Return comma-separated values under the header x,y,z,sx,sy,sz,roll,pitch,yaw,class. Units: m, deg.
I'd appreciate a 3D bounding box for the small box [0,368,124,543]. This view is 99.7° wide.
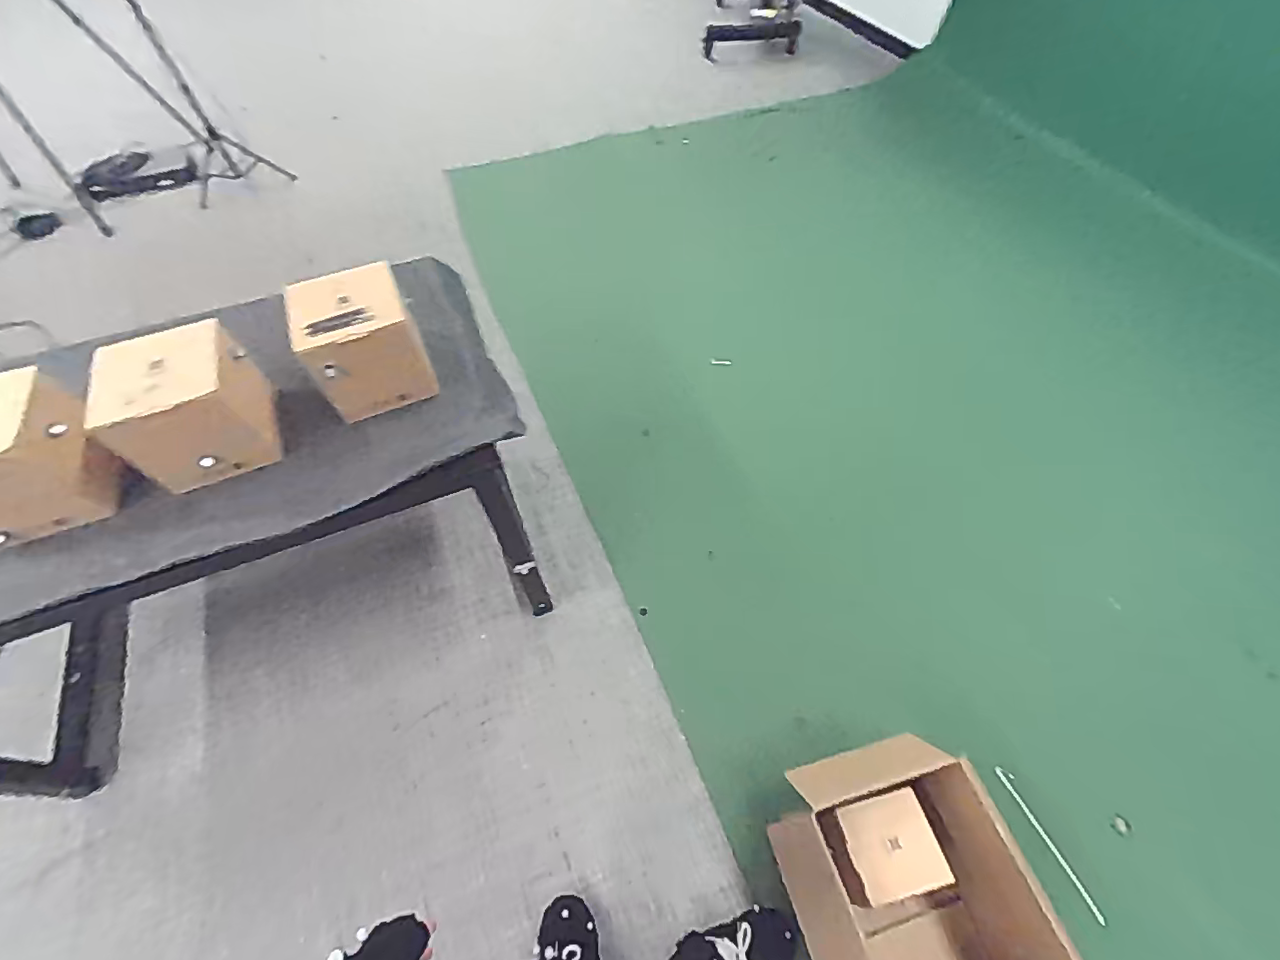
x,y,z,sx,sy,sz,roll,pitch,yaw,class
-0.917,-0.027,0.793,0.168,0.176,0.179,-19,57,-13,small box

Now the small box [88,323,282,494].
x,y,z,sx,sy,sz,roll,pitch,yaw,class
-0.695,-0.110,0.849,0.168,0.176,0.179,-21,58,-13,small box
